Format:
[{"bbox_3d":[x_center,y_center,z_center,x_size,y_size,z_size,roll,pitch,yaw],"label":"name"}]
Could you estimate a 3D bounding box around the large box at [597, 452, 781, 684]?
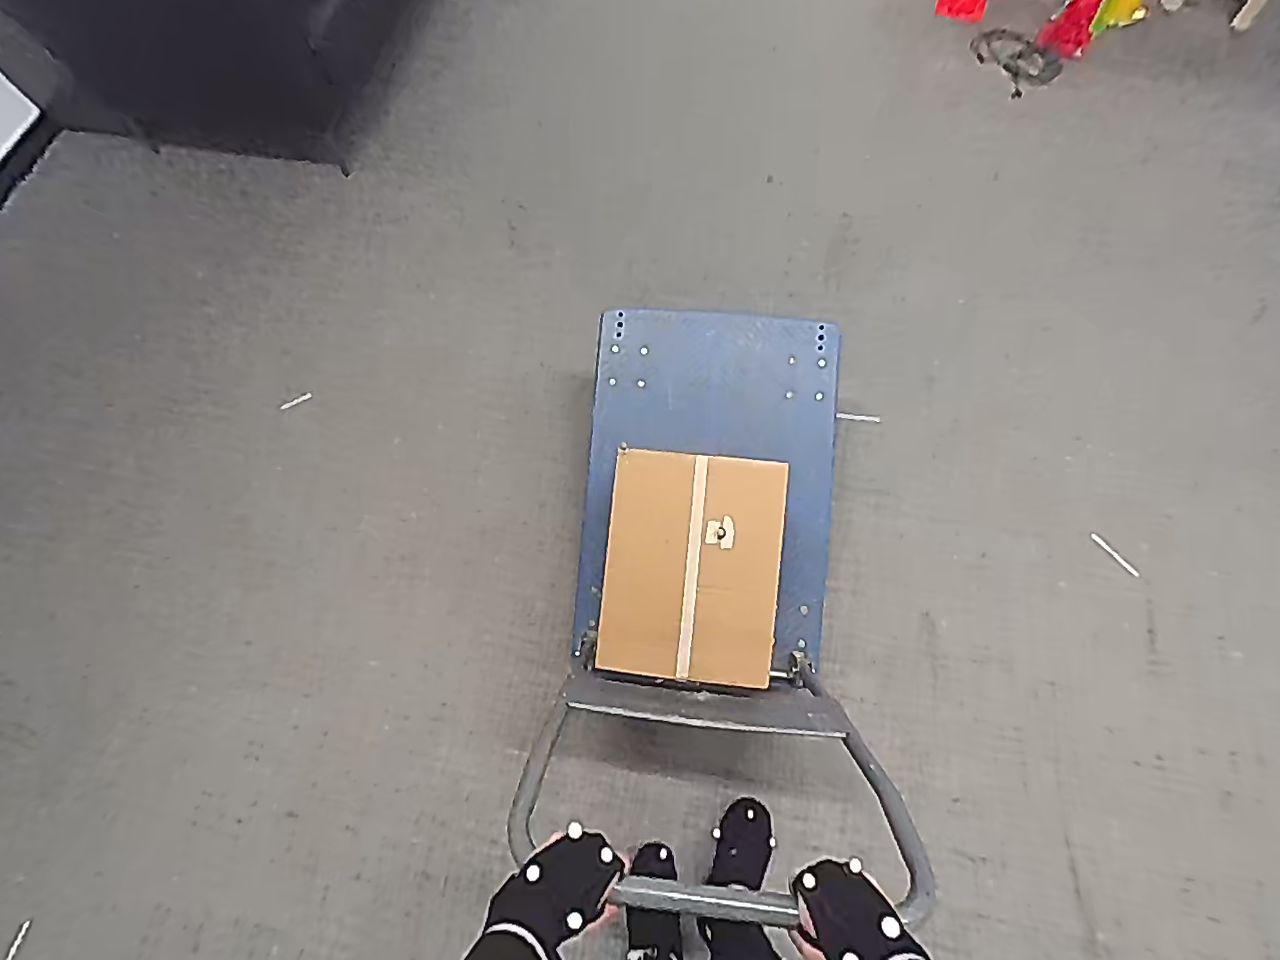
[{"bbox_3d":[0.100,0.168,1.132,0.320,0.320,0.408,5,87,4],"label":"large box"}]
